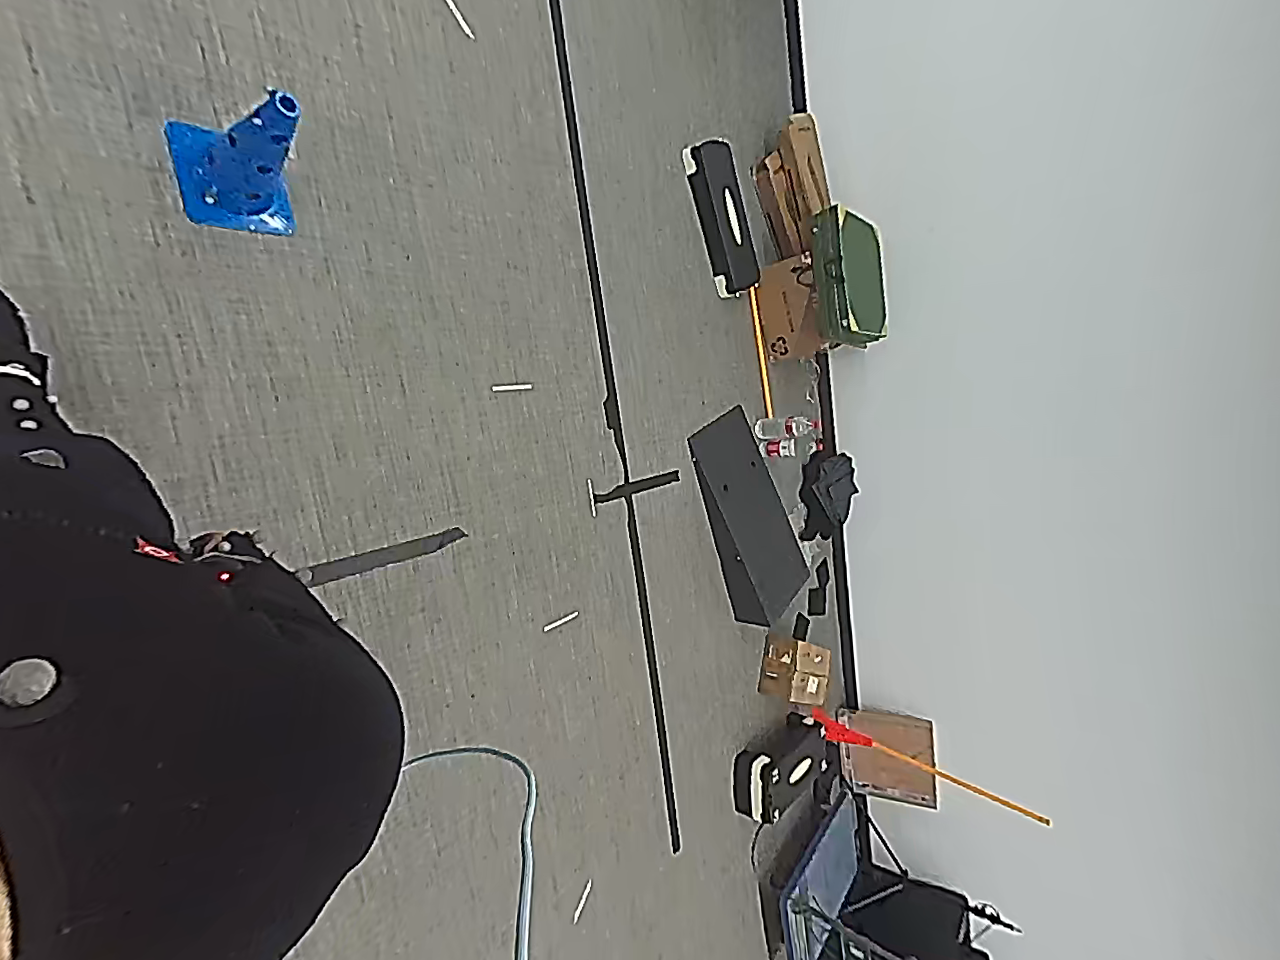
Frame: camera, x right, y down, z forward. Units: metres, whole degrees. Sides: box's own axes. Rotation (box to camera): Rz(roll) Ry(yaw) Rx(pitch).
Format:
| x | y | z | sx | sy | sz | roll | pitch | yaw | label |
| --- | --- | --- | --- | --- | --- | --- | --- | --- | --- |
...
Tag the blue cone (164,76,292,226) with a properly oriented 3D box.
| x | y | z | sx | sy | sz | roll | pitch | yaw | label |
| --- | --- | --- | --- | --- | --- | --- | --- | --- | --- |
| -0.744 | -0.647 | 1.034 | 0.193 | 0.380 | 0.192 | -15 | 99 | -48 | blue cone |
